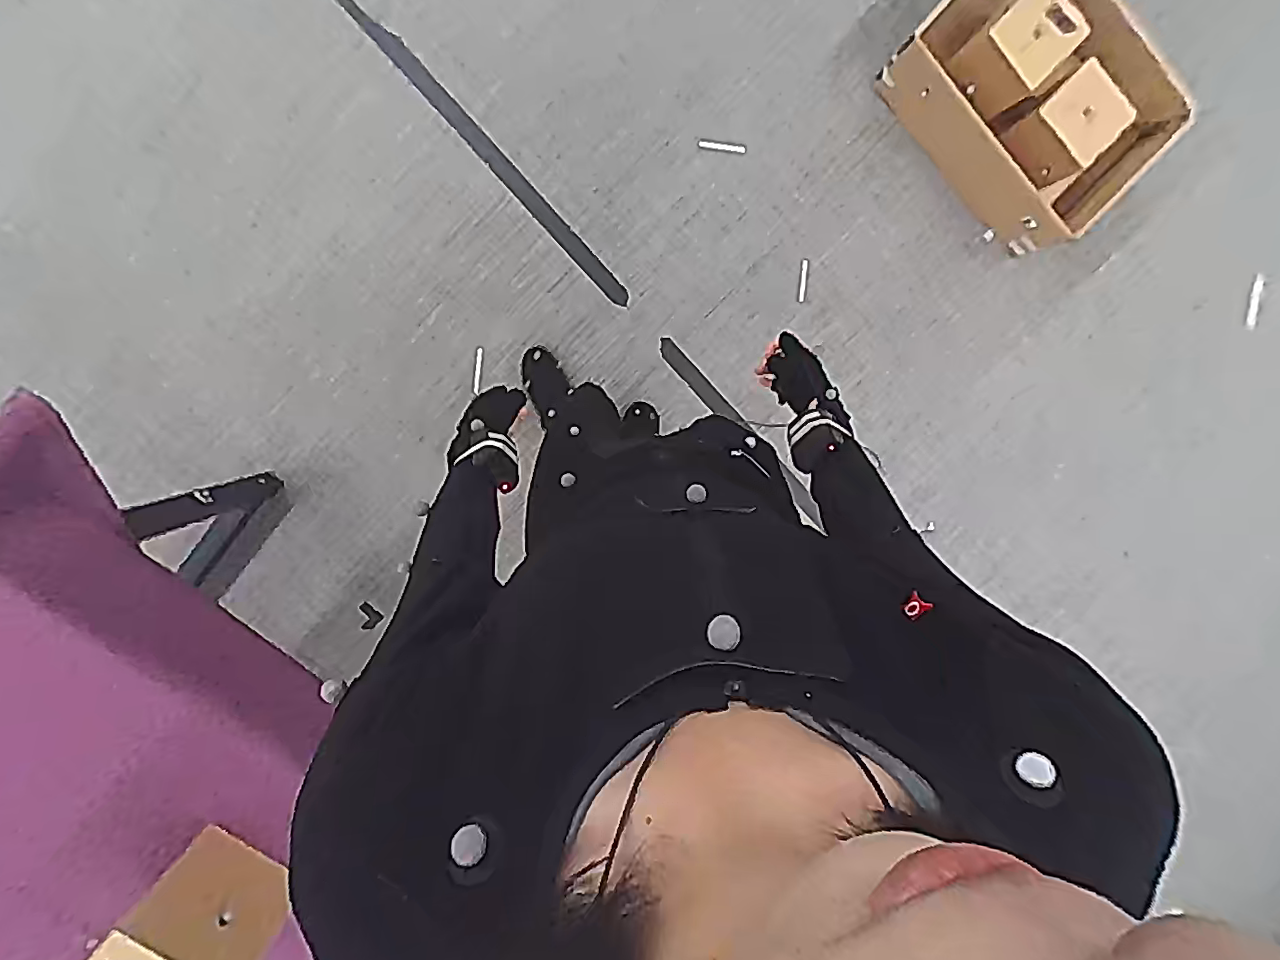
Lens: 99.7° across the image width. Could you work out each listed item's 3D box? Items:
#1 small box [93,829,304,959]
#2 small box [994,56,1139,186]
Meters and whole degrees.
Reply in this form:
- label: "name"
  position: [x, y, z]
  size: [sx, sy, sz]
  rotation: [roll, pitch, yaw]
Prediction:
- label: "small box"
  position: [-0.623, 0.642, 0.757]
  size: [0.179, 0.176, 0.168]
  rotation: [40, 95, -10]
- label: "small box"
  position: [1.013, -0.844, 1.300]
  size: [0.179, 0.176, 0.168]
  rotation: [43, 94, -7]
